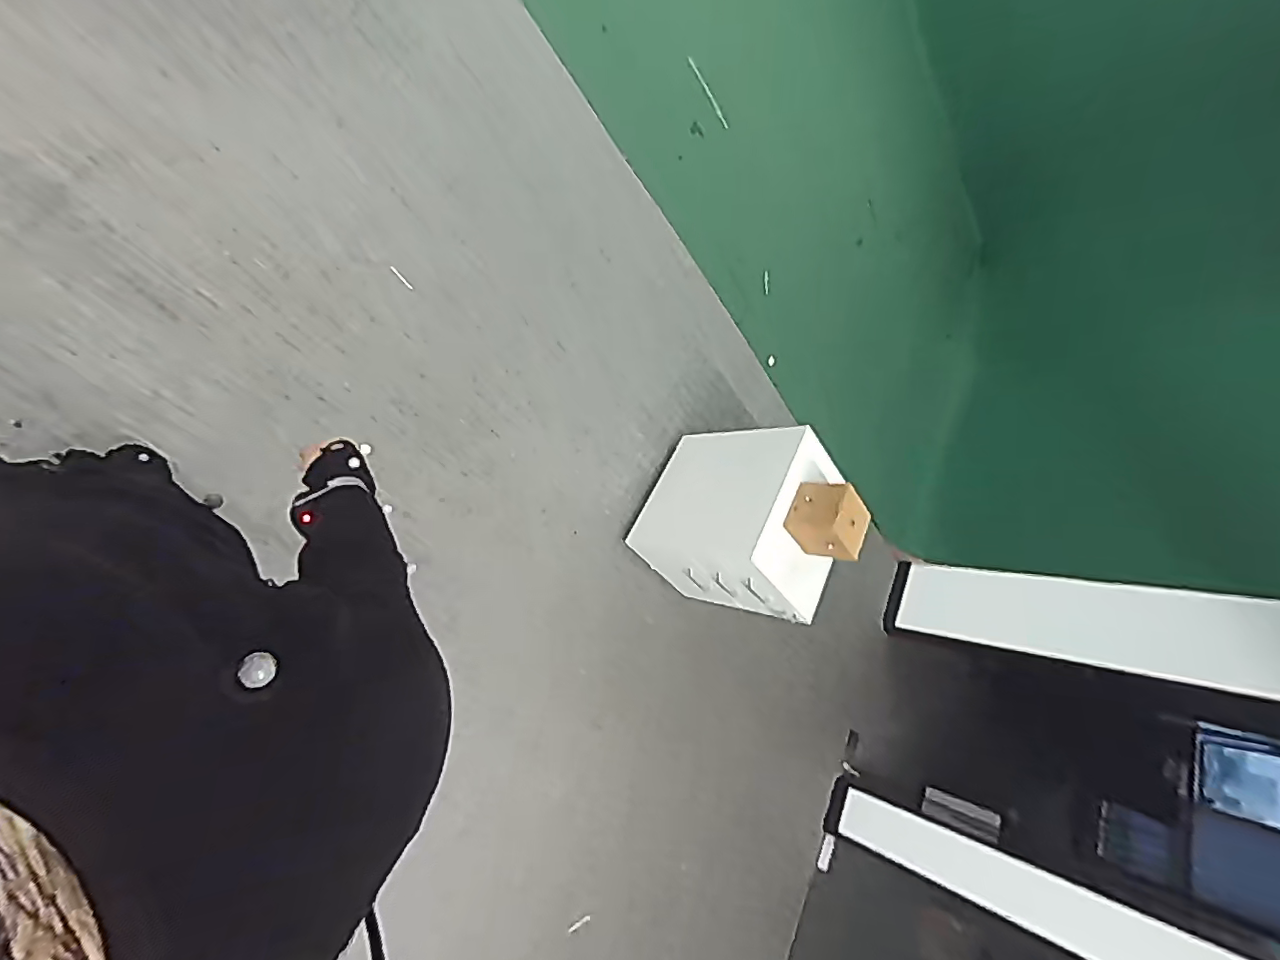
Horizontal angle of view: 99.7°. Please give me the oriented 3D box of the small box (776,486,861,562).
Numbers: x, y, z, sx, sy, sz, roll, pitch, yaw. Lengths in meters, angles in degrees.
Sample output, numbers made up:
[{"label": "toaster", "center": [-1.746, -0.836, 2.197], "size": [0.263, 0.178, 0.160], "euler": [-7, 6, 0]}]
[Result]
[{"label": "small box", "center": [0.546, 0.129, 1.659], "size": [0.179, 0.176, 0.168], "euler": [46, 60, -33]}]
